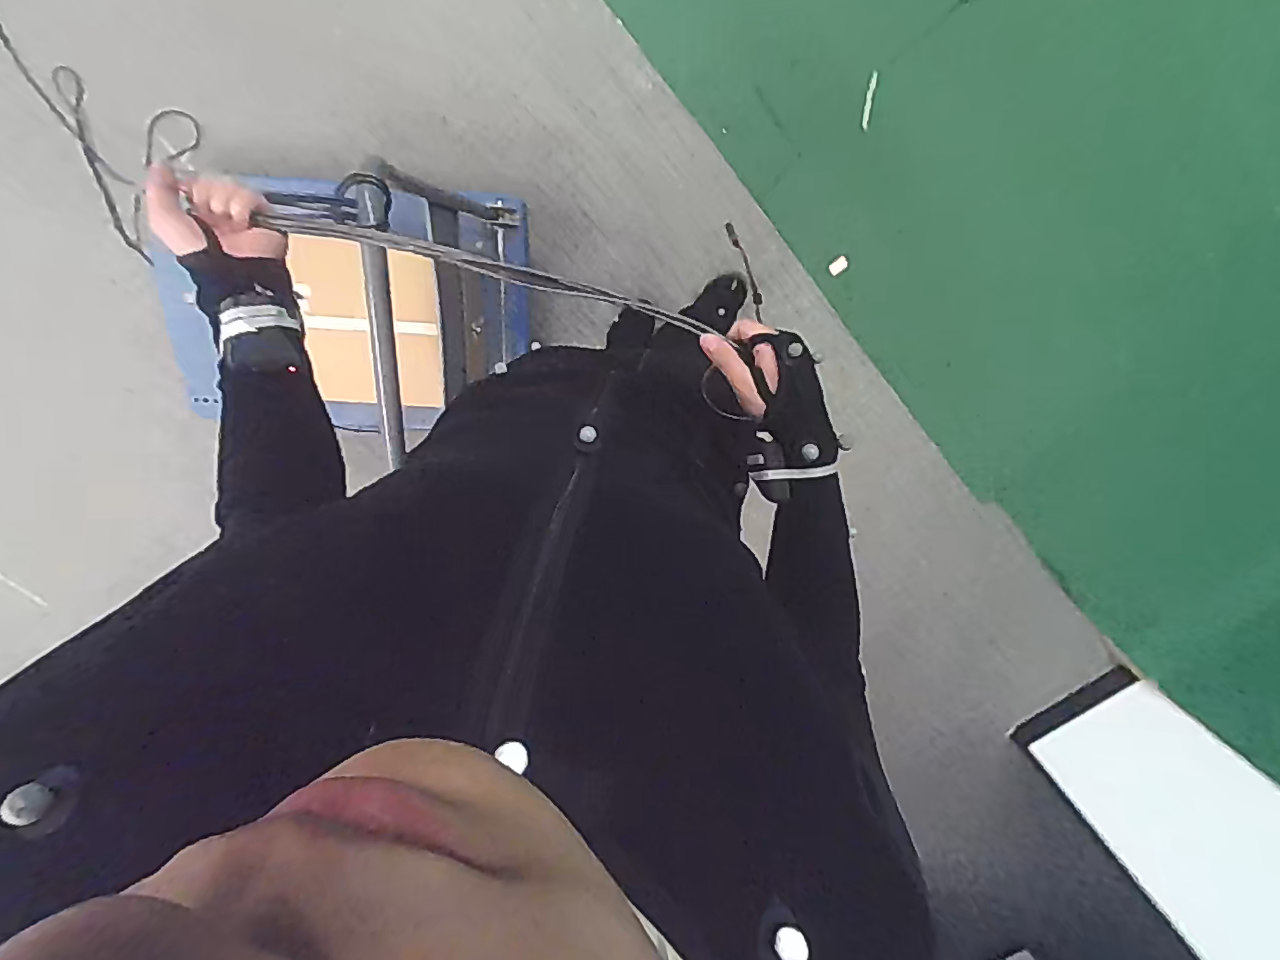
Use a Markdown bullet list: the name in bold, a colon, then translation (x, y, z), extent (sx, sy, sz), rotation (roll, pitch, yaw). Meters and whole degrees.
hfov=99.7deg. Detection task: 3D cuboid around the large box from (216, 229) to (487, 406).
- **large box**: translation (-0.577, -0.357, 1.171), extent (0.408, 0.320, 0.320), rotation (4, 111, -1)
